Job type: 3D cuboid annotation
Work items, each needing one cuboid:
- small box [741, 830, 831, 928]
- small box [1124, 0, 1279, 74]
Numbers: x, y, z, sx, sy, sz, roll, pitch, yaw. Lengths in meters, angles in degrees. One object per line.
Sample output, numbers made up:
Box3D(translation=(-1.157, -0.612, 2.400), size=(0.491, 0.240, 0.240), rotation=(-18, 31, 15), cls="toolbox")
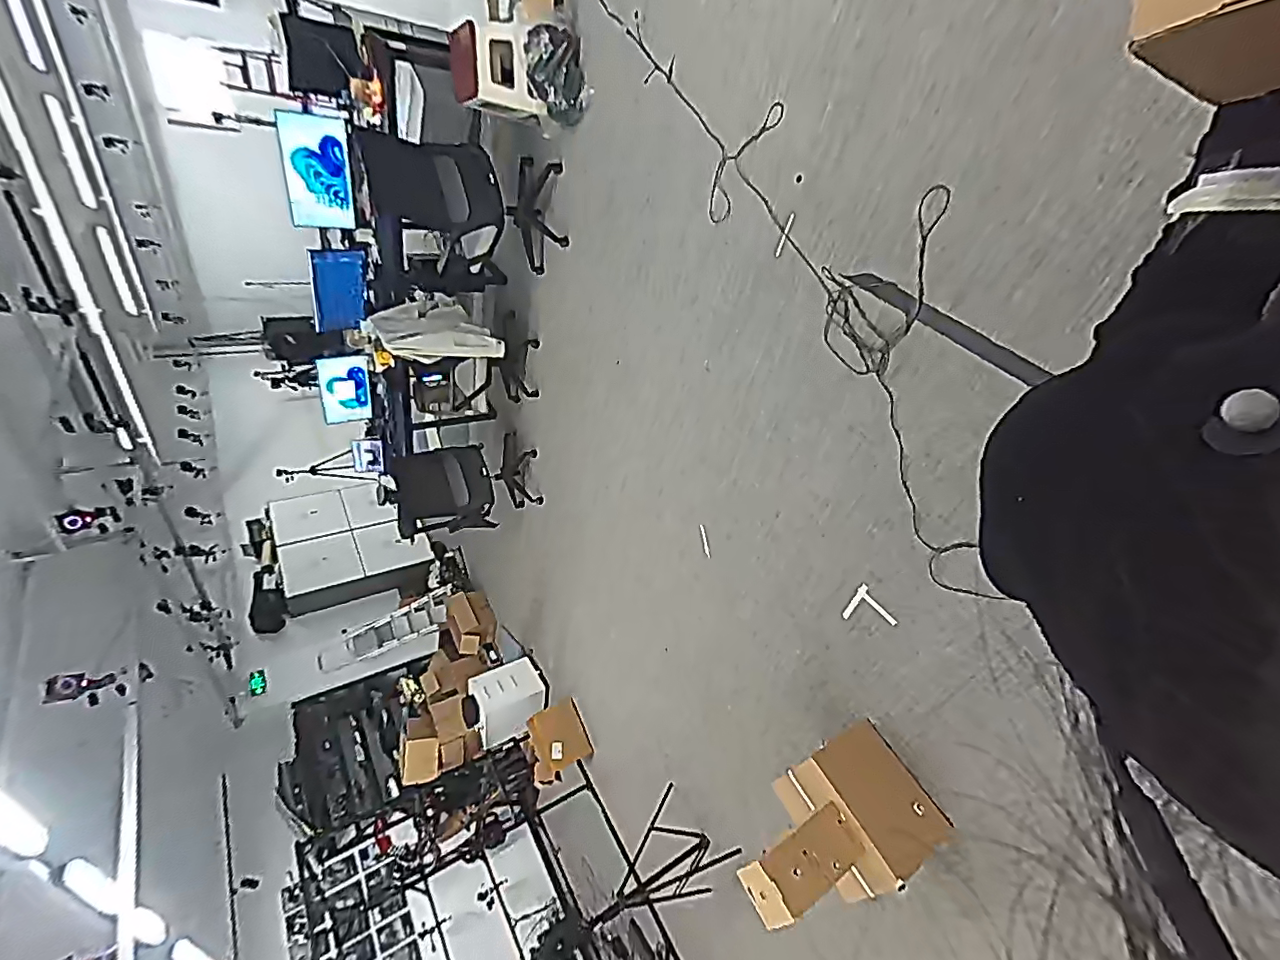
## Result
Box3D(translation=(0.442, 1.194, 1.626), size=(0.168, 0.176, 0.179), rotation=(54, 141, 31), cls="small box")
Box3D(translation=(0.329, -0.295, 0.211), size=(0.168, 0.176, 0.179), rotation=(12, 112, 53), cls="small box")
